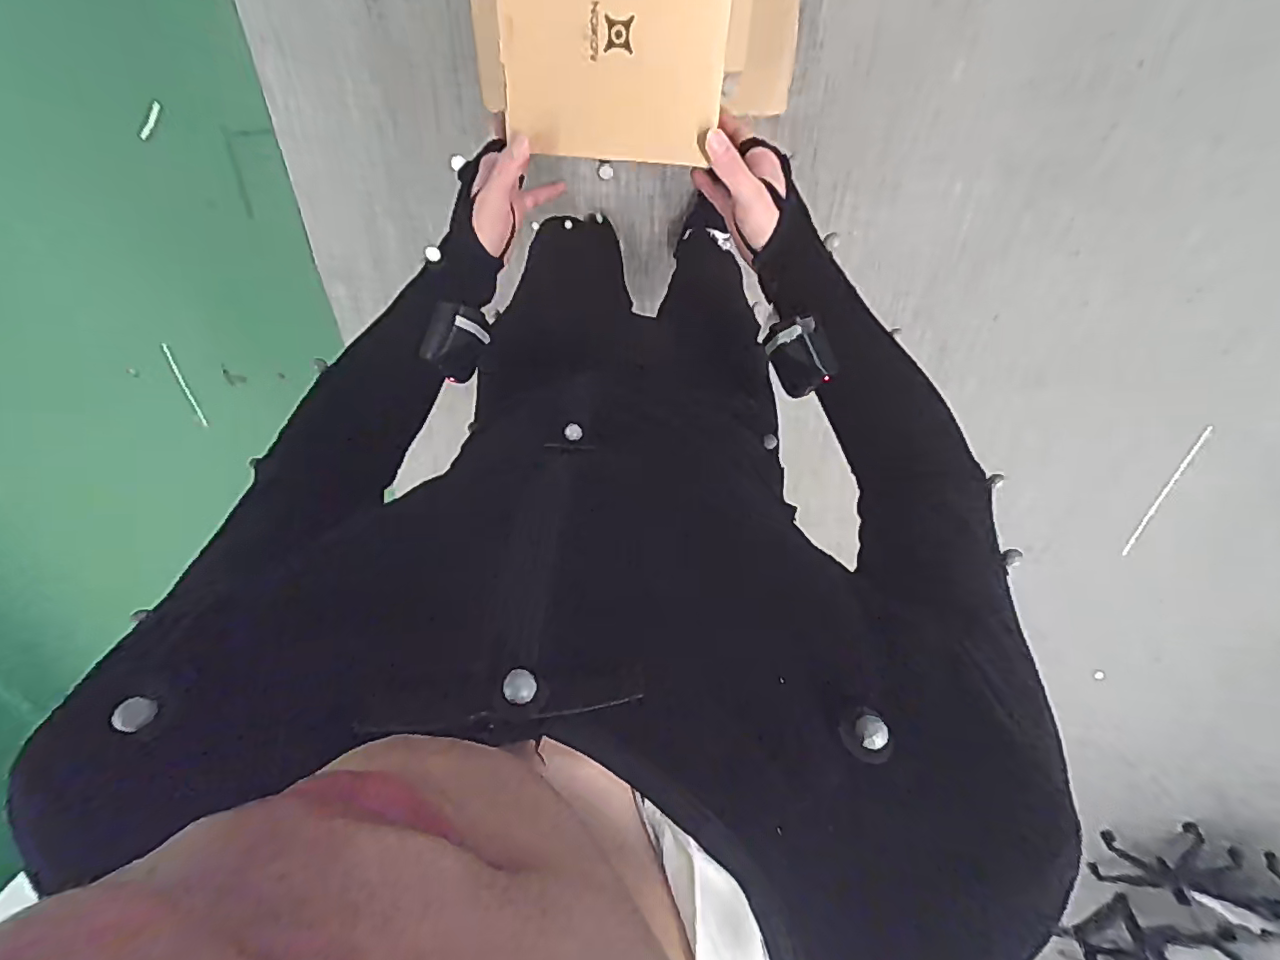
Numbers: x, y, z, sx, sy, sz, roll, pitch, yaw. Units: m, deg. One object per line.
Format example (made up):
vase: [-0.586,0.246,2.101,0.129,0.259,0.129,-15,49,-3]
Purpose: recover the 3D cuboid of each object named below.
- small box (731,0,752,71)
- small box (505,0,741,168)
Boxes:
small box: [0.127,-0.905,1.055,0.179,0.176,0.168,6,127,5]
small box: [-0.009,-0.381,0.474,0.179,0.176,0.168,6,124,3]
